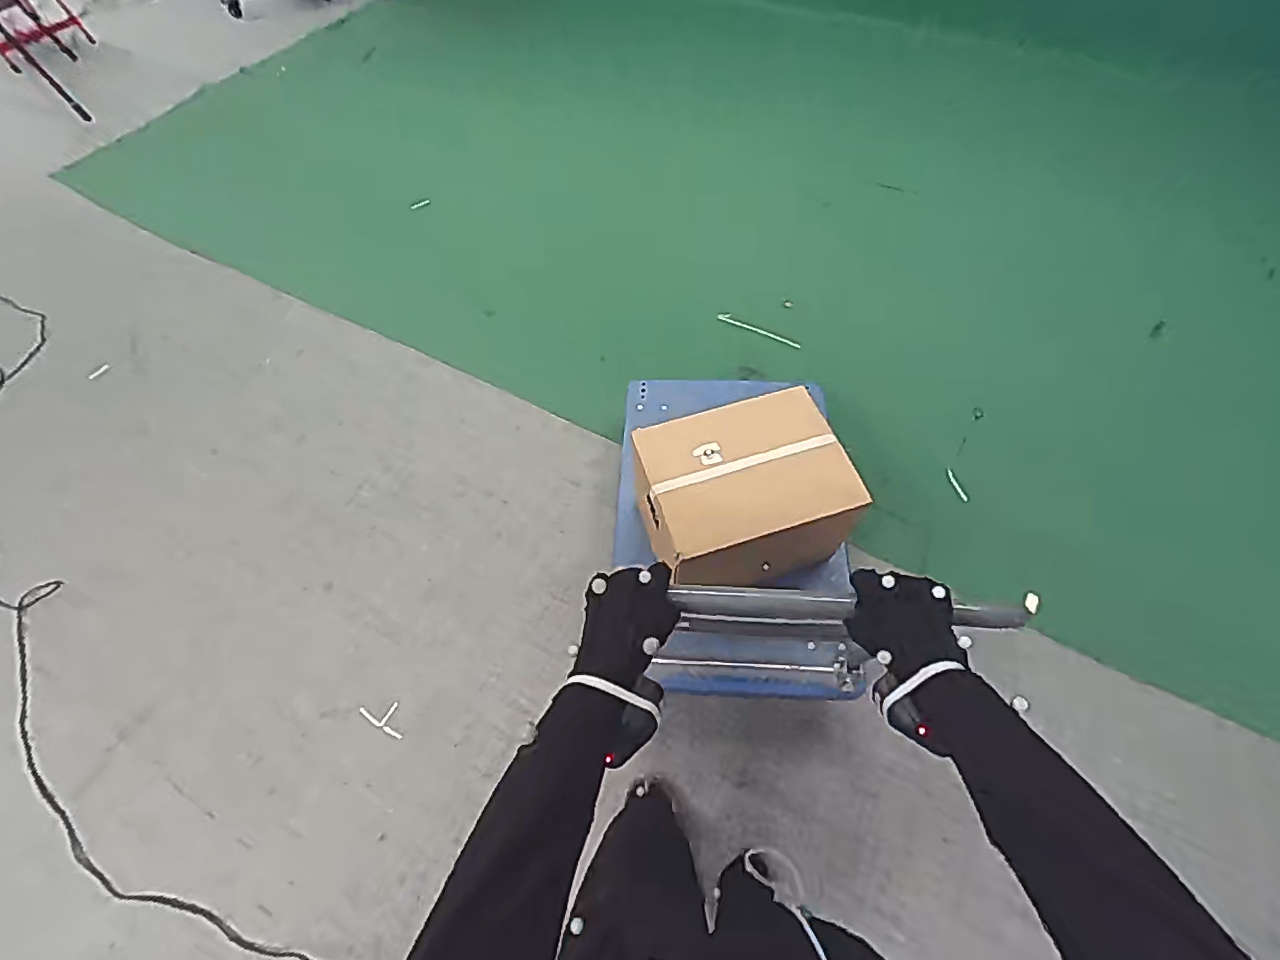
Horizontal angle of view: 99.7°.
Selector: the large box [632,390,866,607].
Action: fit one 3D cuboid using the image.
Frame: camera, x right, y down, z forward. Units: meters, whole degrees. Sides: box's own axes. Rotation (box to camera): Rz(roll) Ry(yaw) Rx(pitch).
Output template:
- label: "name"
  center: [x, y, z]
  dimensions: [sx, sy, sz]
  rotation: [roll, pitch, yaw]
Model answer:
- label: "large box"
  center: [0.222, 0.052, 1.239]
  dimensions: [0.408, 0.320, 0.320]
  rotation: [-16, 60, -6]
